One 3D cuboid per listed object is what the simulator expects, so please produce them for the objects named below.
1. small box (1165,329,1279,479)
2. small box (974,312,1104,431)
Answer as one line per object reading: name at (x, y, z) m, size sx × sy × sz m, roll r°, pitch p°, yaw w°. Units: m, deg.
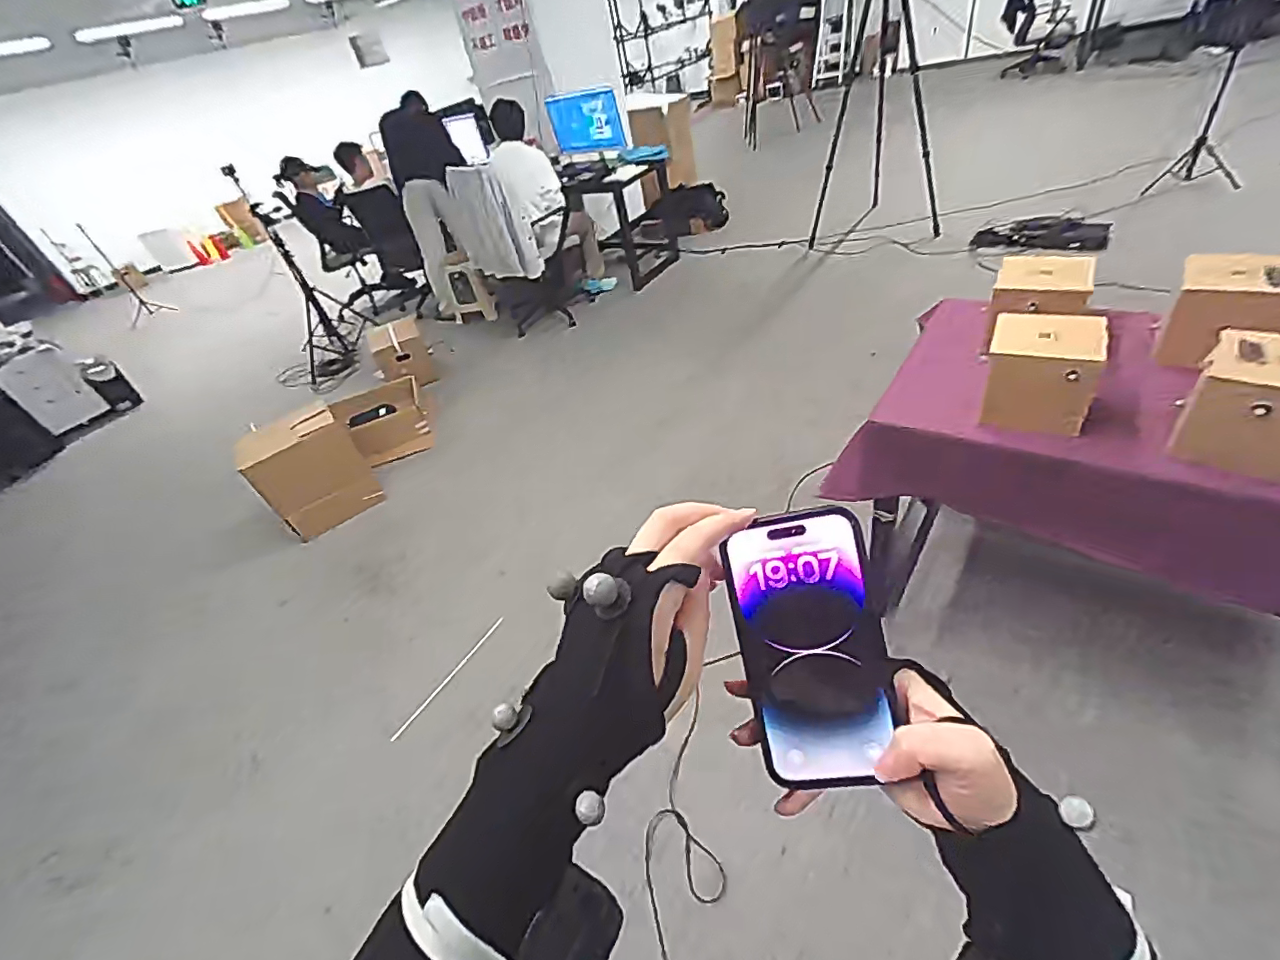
small box at (1.022, -0.125, 0.891) m, size 0.179 × 0.176 × 0.168 m, roll 25°, pitch 54°, yaw 37°
small box at (0.784, -0.215, 1.074) m, size 0.179 × 0.176 × 0.168 m, roll 14°, pitch 48°, yaw 29°
